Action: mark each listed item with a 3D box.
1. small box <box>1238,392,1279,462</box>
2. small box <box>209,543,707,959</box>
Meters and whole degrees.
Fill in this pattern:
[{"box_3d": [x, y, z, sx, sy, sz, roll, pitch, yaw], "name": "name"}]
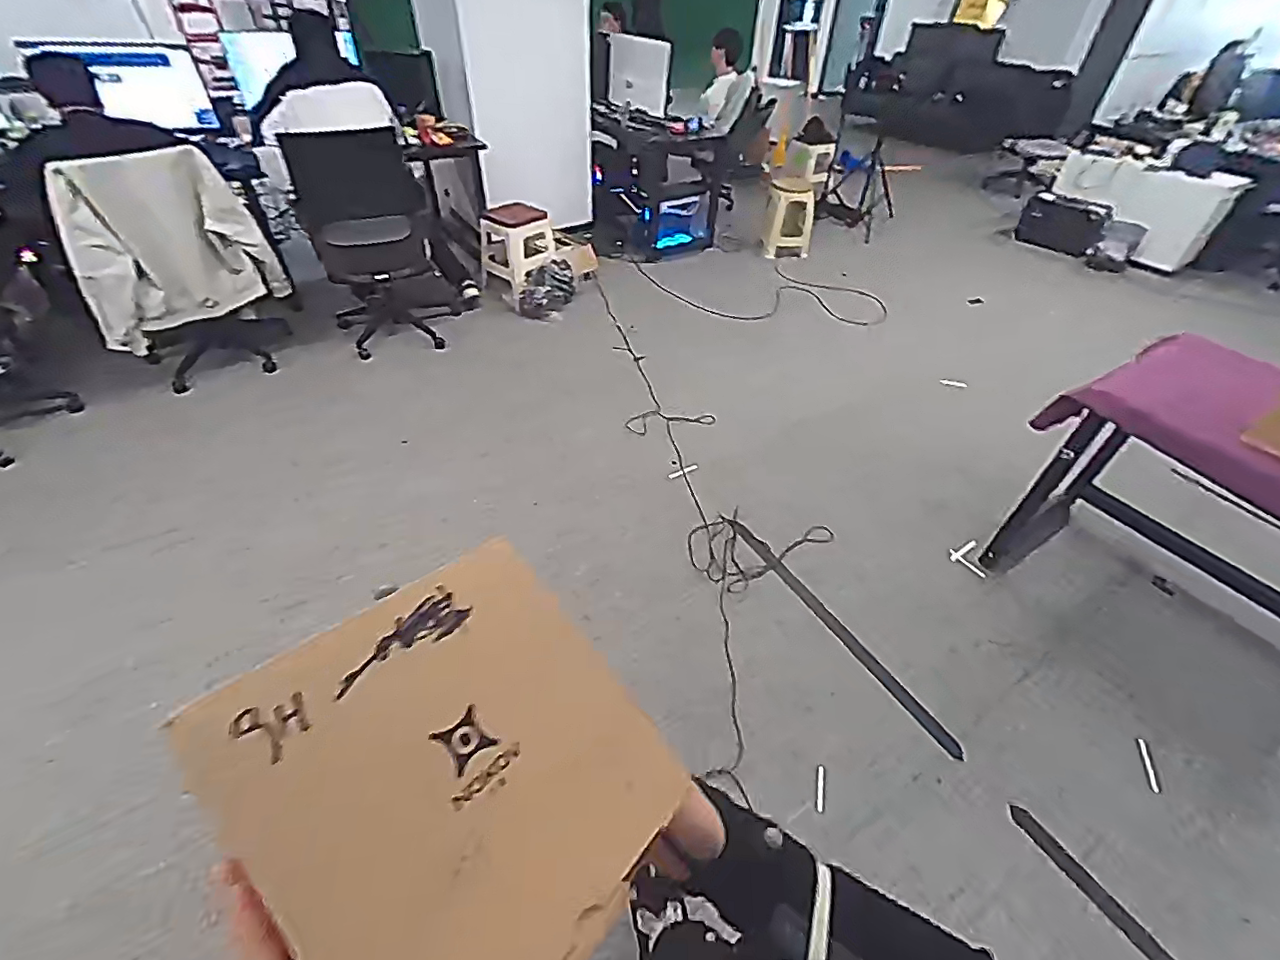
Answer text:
[{"box_3d": [1.550, -0.132, 1.238, 0.179, 0.176, 0.168, -21, 48, -25], "name": "small box"}, {"box_3d": [-0.103, 0.173, 0.306, 0.179, 0.176, 0.168, 50, 44, 11], "name": "small box"}]
